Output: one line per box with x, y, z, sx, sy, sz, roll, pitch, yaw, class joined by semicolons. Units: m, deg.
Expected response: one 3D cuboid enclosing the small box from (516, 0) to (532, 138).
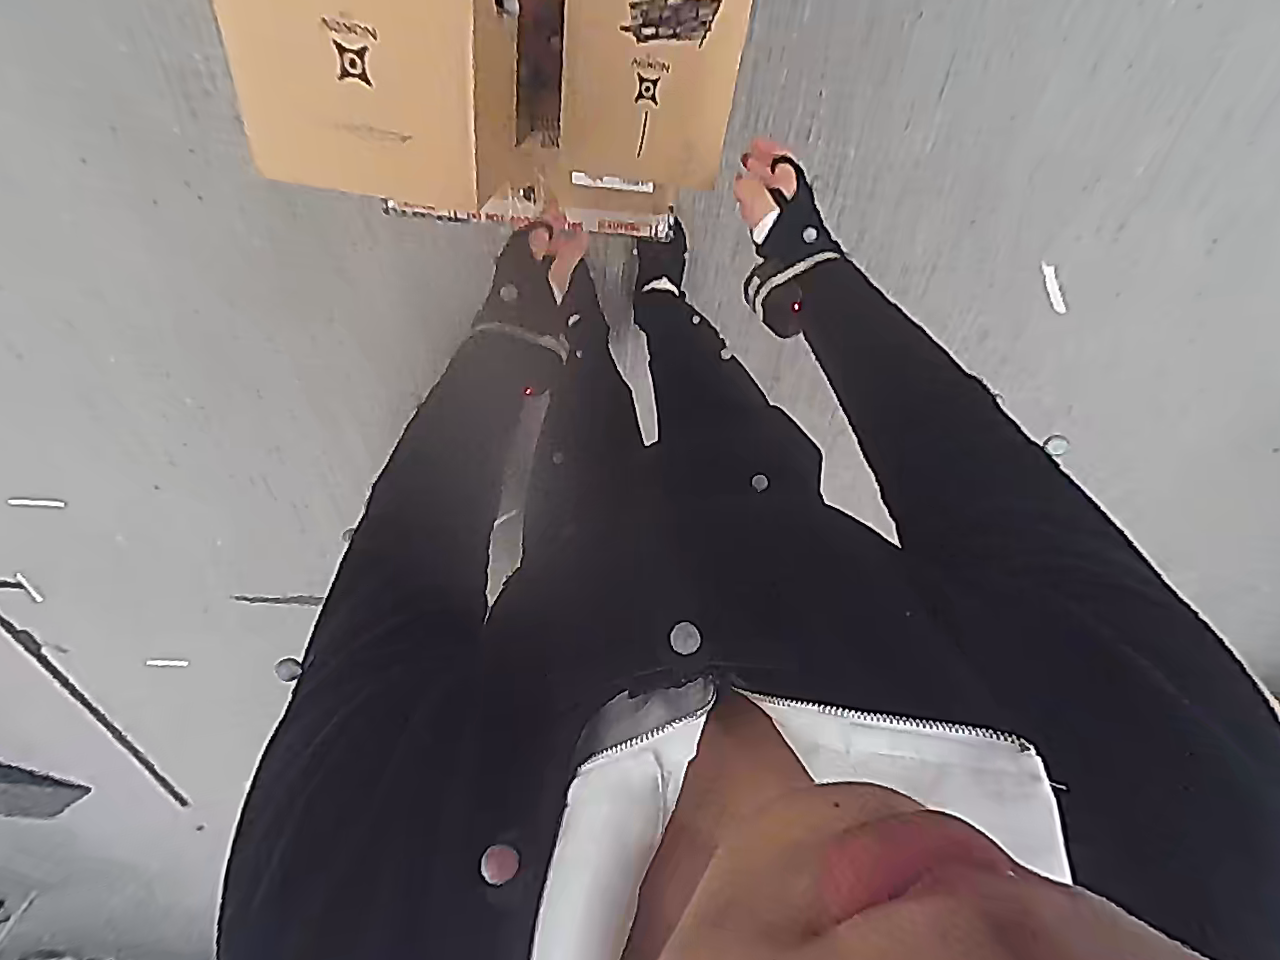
-0.203;-0.449;0.543;0.168;0.176;0.179;7;130;-6;small box

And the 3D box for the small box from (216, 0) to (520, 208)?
-0.192;-0.339;0.422;0.168;0.176;0.179;7;130;-5;small box

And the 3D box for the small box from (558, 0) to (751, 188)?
0.004;-0.431;0.567;0.168;0.176;0.179;4;129;-7;small box
